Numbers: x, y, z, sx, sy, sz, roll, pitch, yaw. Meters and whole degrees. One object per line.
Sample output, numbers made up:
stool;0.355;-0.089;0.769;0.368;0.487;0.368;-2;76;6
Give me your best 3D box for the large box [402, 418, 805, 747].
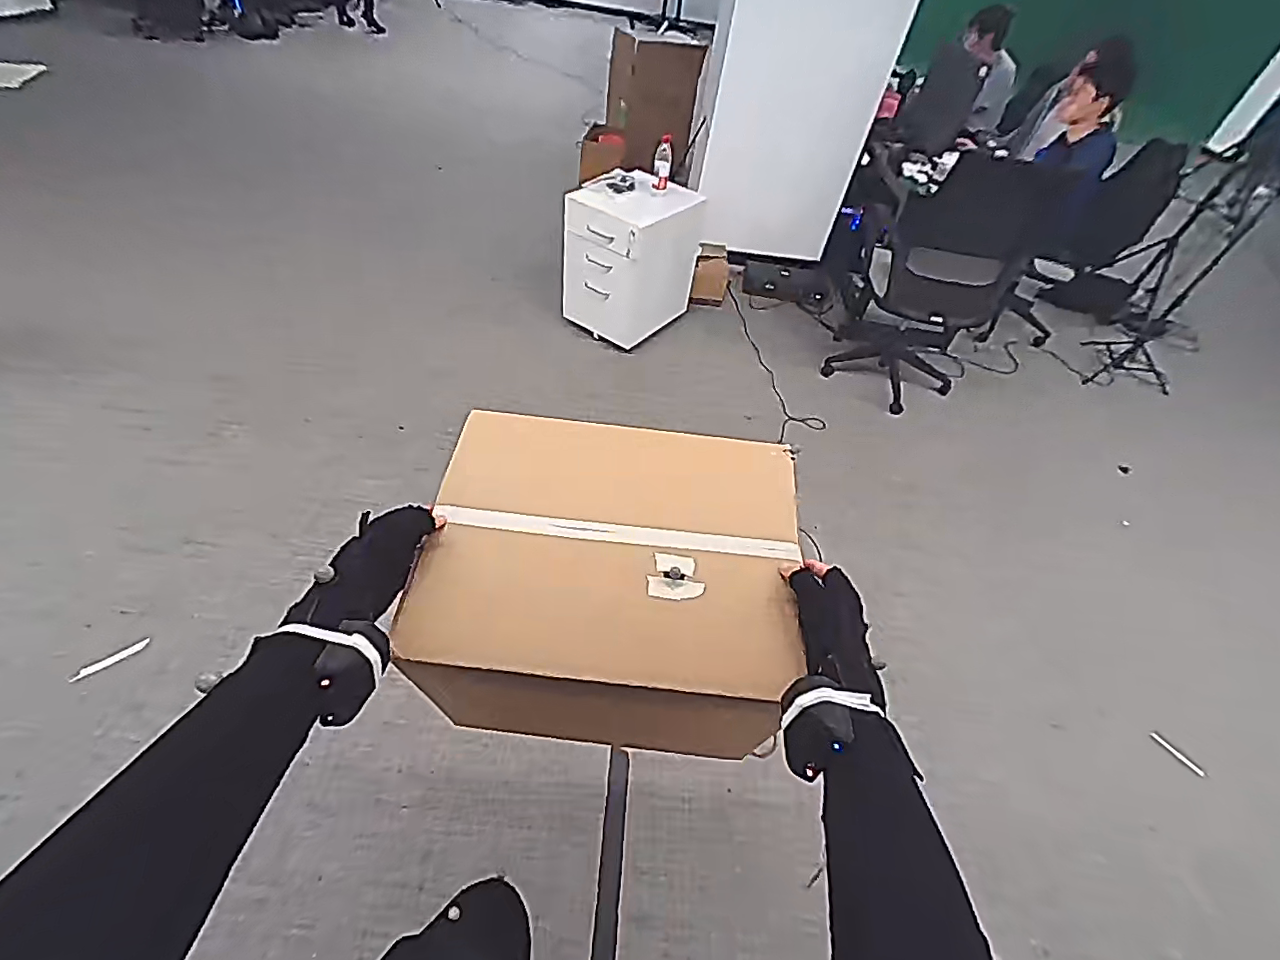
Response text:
large box;-0.036;0.149;0.729;0.408;0.320;0.320;7;55;0
